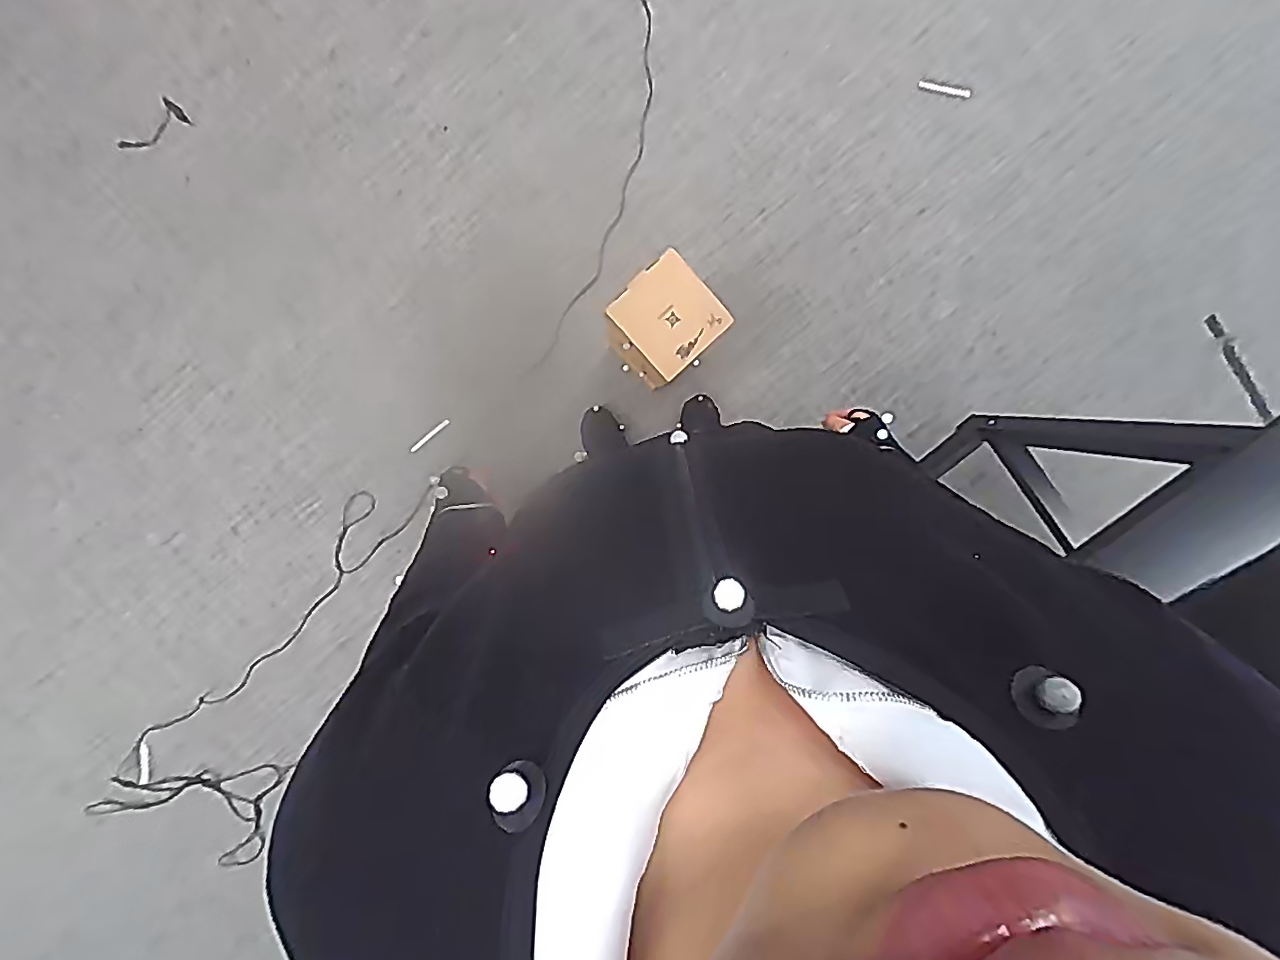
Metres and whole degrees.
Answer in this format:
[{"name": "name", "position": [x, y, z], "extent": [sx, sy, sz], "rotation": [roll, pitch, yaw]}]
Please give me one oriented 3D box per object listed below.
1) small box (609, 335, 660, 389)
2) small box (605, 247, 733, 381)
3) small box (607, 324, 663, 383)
[{"name": "small box", "position": [0.038, -0.348, 1.370], "extent": [0.179, 0.176, 0.168], "rotation": [-42, 96, 5]}, {"name": "small box", "position": [0.049, -0.308, 1.047], "extent": [0.168, 0.176, 0.179], "rotation": [-42, 97, 5]}, {"name": "small box", "position": [0.045, -0.333, 1.209], "extent": [0.168, 0.176, 0.179], "rotation": [44, 93, -7]}]
